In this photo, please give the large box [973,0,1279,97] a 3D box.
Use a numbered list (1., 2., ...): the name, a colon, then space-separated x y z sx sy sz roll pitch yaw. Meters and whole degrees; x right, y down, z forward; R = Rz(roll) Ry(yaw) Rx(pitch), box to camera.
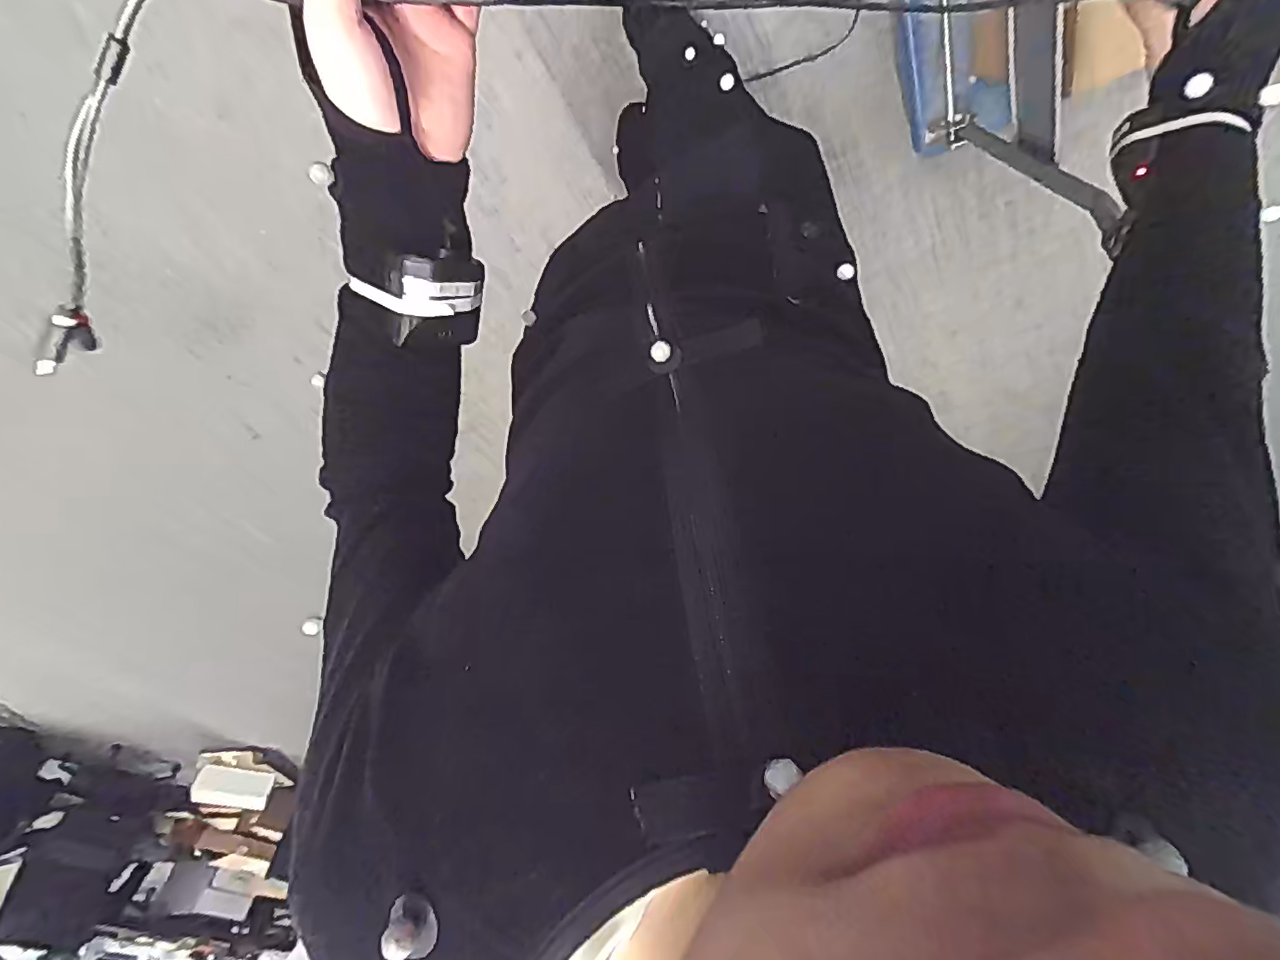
1. large box: 0.761 -0.843 0.787 0.408 0.320 0.320 -20 129 15
